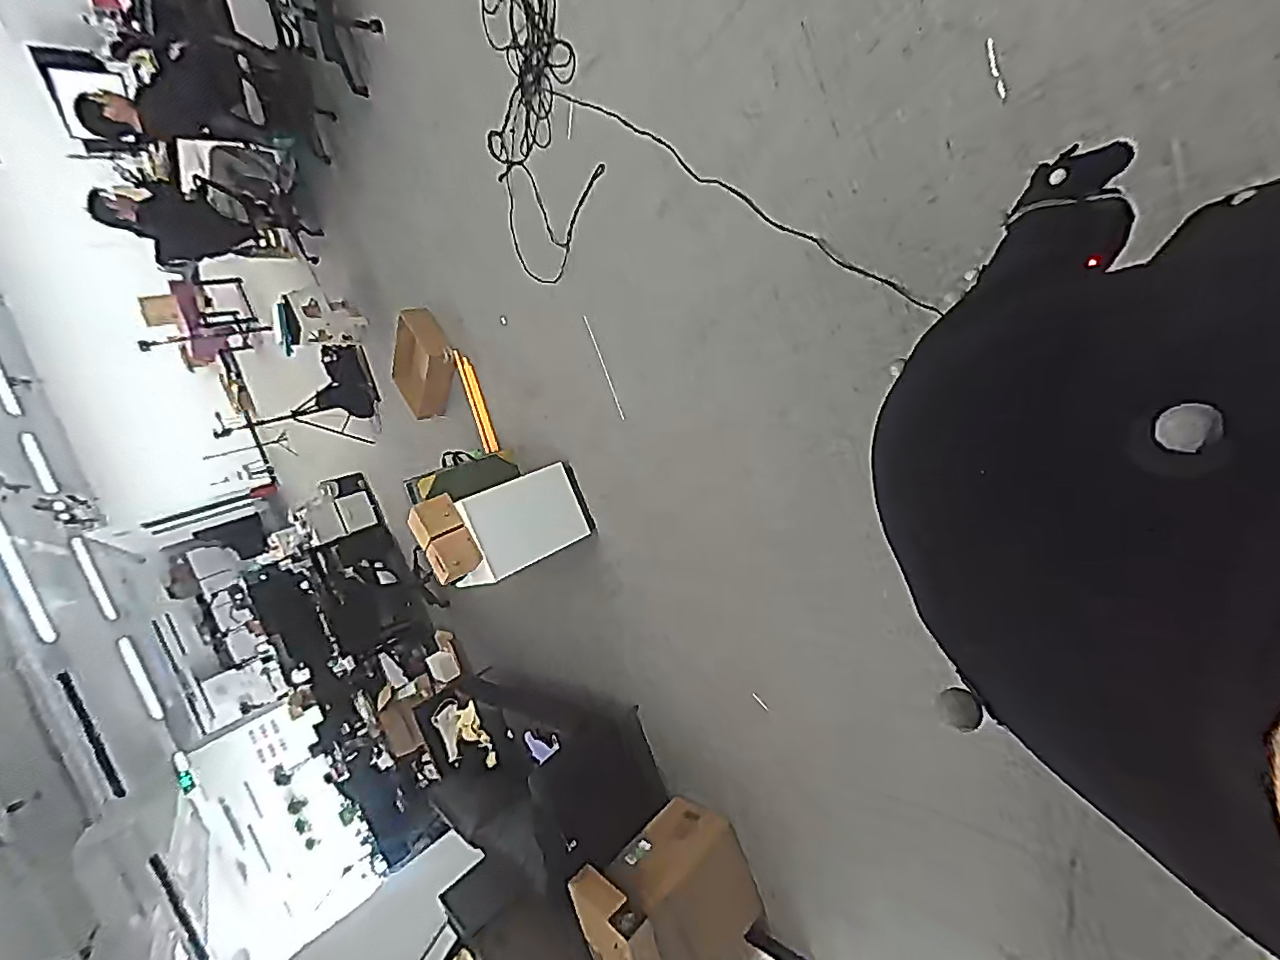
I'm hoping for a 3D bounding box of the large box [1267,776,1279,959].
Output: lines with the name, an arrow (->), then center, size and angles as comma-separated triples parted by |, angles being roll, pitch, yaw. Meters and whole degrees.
large box -> 1.132, 0.656, 0.683 | 0.408, 0.320, 0.320 | -13, 102, 52
